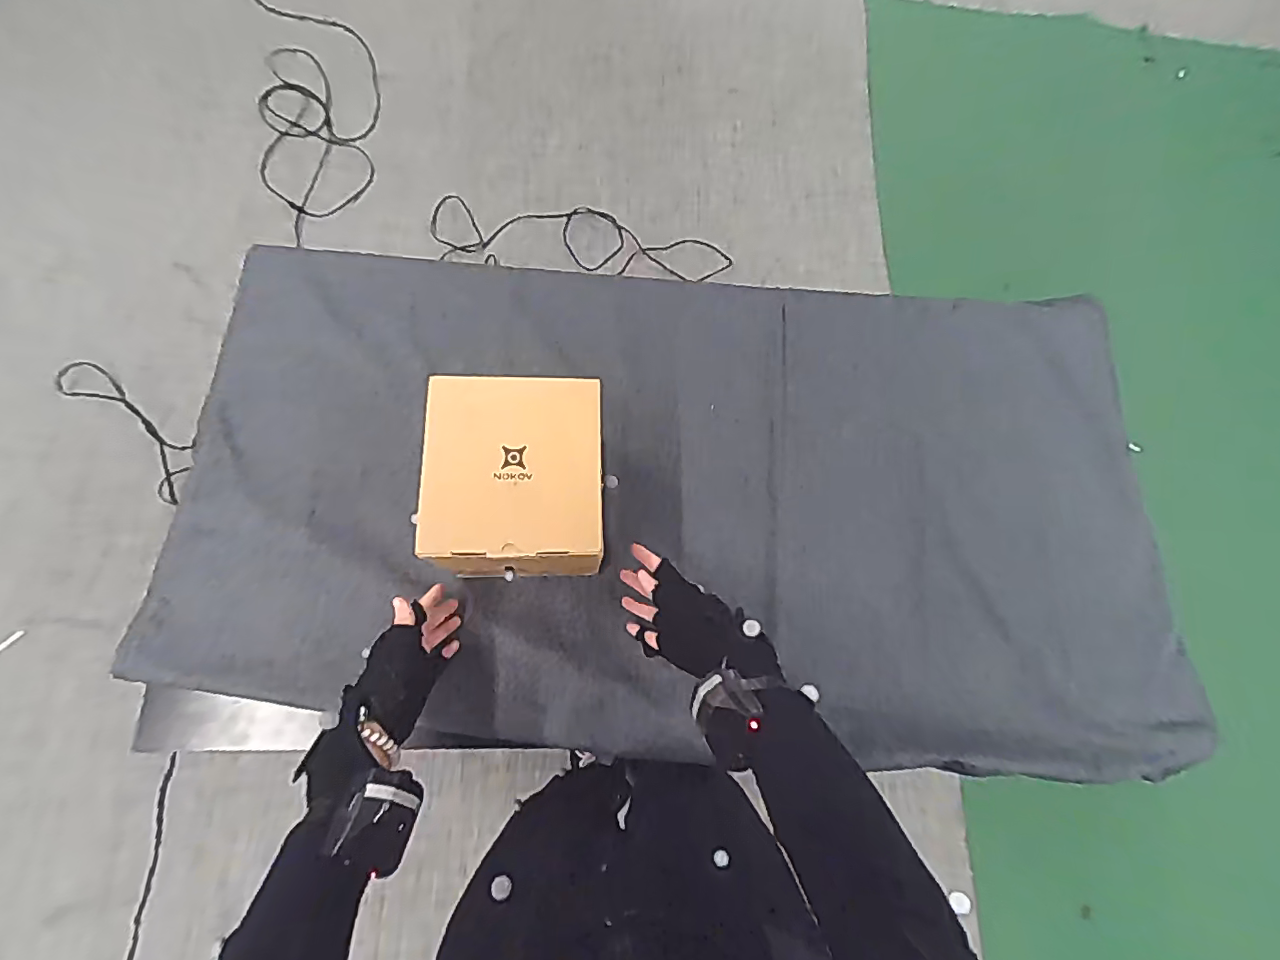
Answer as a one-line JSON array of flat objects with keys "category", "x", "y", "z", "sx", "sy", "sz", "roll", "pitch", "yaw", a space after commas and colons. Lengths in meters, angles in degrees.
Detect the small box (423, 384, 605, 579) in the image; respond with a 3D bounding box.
[{"category": "small box", "x": -0.126, "y": 0.012, "z": 0.593, "sx": 0.168, "sy": 0.176, "sz": 0.179, "roll": 1, "pitch": 75, "yaw": -7}]
